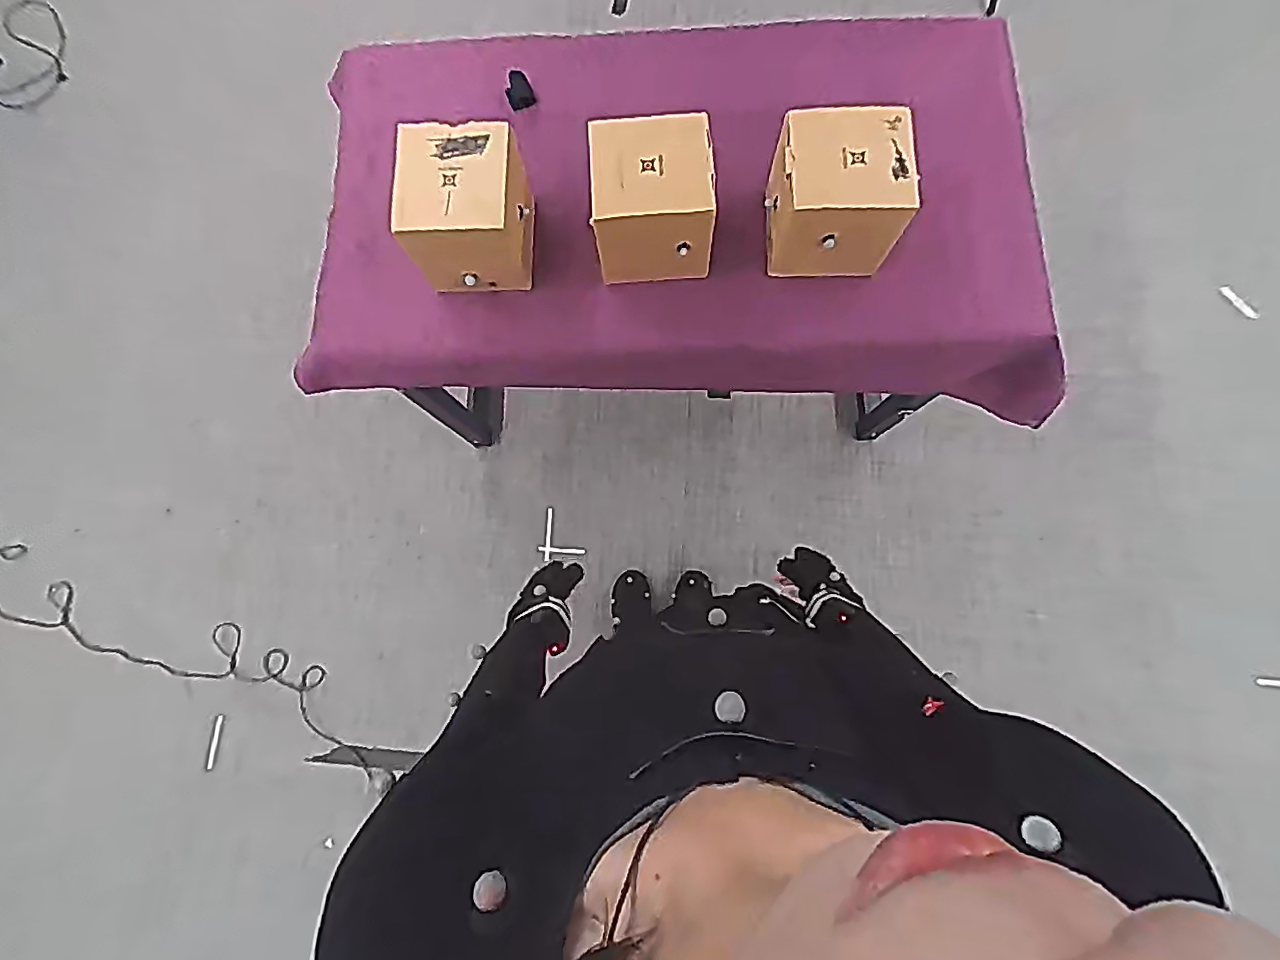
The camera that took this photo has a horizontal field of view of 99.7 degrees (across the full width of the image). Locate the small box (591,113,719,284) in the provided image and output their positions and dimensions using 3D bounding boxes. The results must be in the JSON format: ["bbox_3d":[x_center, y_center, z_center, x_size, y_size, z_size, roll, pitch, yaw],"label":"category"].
[{"bbox_3d":[0.023,-0.430,0.848,0.179,0.176,0.168,-5,77,3],"label":"small box"}]

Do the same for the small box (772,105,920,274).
[{"bbox_3d":[0.302,-0.436,0.835,0.179,0.176,0.168,0,79,3],"label":"small box"}]
